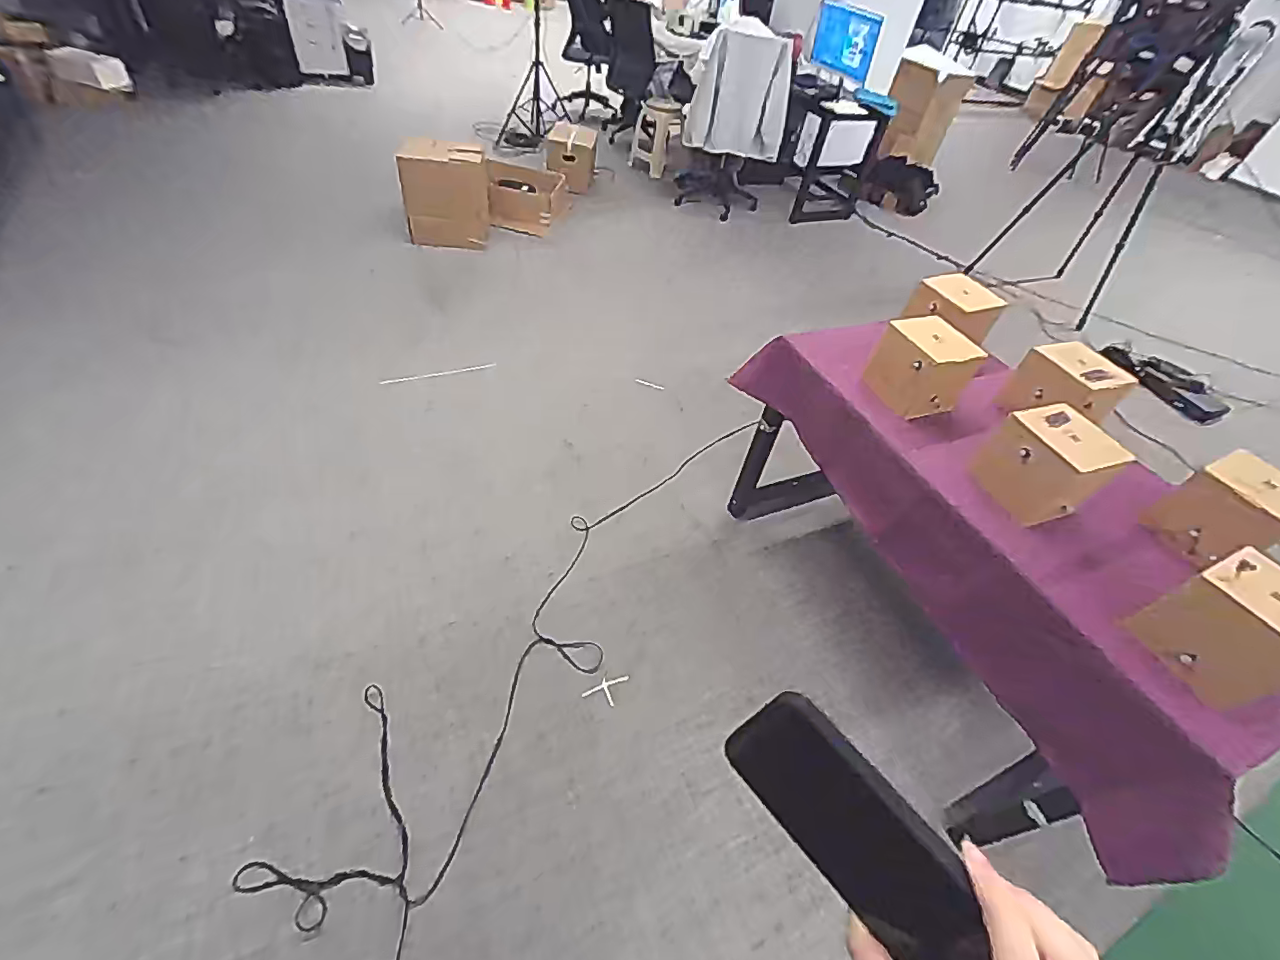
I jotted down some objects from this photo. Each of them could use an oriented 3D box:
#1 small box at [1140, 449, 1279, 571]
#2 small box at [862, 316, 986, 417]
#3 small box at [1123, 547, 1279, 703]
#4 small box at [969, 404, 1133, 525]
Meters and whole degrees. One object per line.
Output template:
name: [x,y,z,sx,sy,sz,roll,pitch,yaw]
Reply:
small box: [1.192,0.066,1.100,0.179,0.176,0.168,-16,52,-23]
small box: [0.687,-0.279,1.331,0.168,0.176,0.179,-12,52,-21]
small box: [0.980,0.245,0.894,0.168,0.176,0.179,-14,52,-22]
small box: [0.842,-0.034,1.130,0.168,0.176,0.179,-11,51,-19]
